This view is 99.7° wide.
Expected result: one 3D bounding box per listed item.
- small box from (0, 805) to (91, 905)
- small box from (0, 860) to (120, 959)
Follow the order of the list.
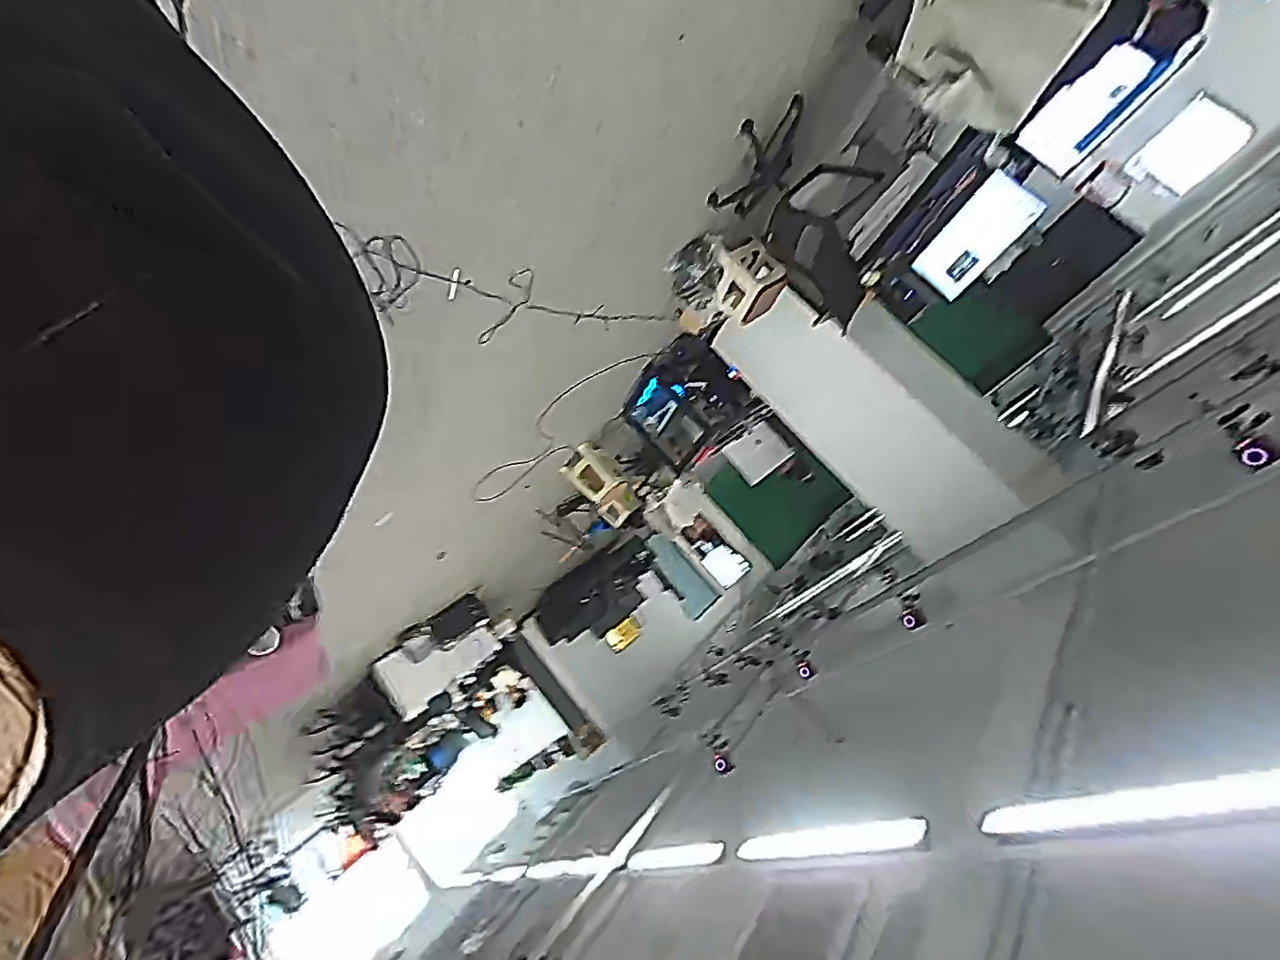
[{"bbox_3d":[-1.553,0.957,1.361,0.168,0.176,0.179,-32,165,-42],"label":"small box"},{"bbox_3d":[-1.447,1.079,1.332,0.168,0.176,0.179,-32,165,-43],"label":"small box"}]
